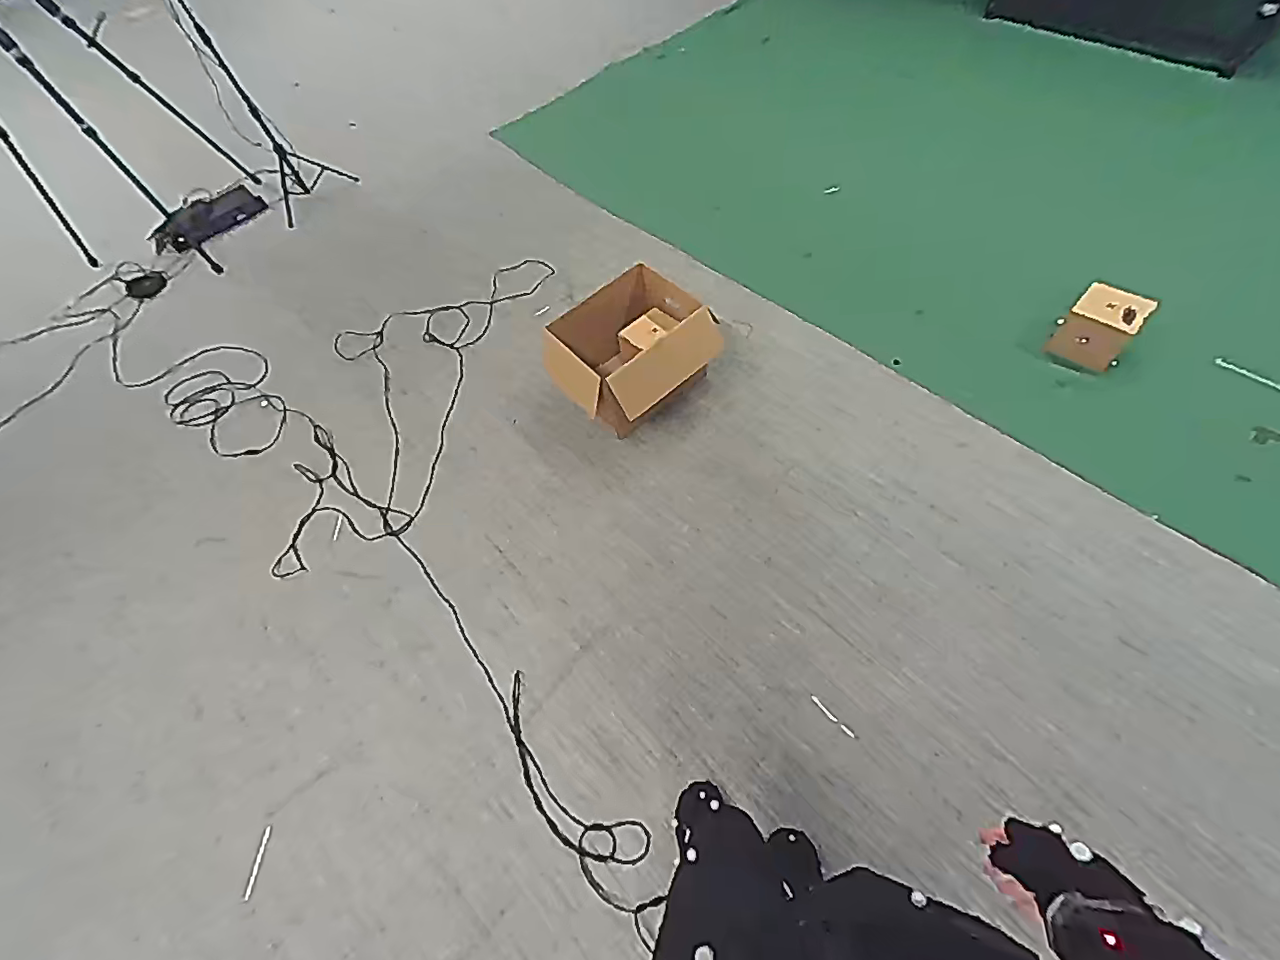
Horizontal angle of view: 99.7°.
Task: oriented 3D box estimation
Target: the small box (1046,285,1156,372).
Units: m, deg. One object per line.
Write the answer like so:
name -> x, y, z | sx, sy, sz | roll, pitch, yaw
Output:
small box -> 1.423, -0.462, 1.679 | 0.168, 0.176, 0.179 | -42, 61, -17
